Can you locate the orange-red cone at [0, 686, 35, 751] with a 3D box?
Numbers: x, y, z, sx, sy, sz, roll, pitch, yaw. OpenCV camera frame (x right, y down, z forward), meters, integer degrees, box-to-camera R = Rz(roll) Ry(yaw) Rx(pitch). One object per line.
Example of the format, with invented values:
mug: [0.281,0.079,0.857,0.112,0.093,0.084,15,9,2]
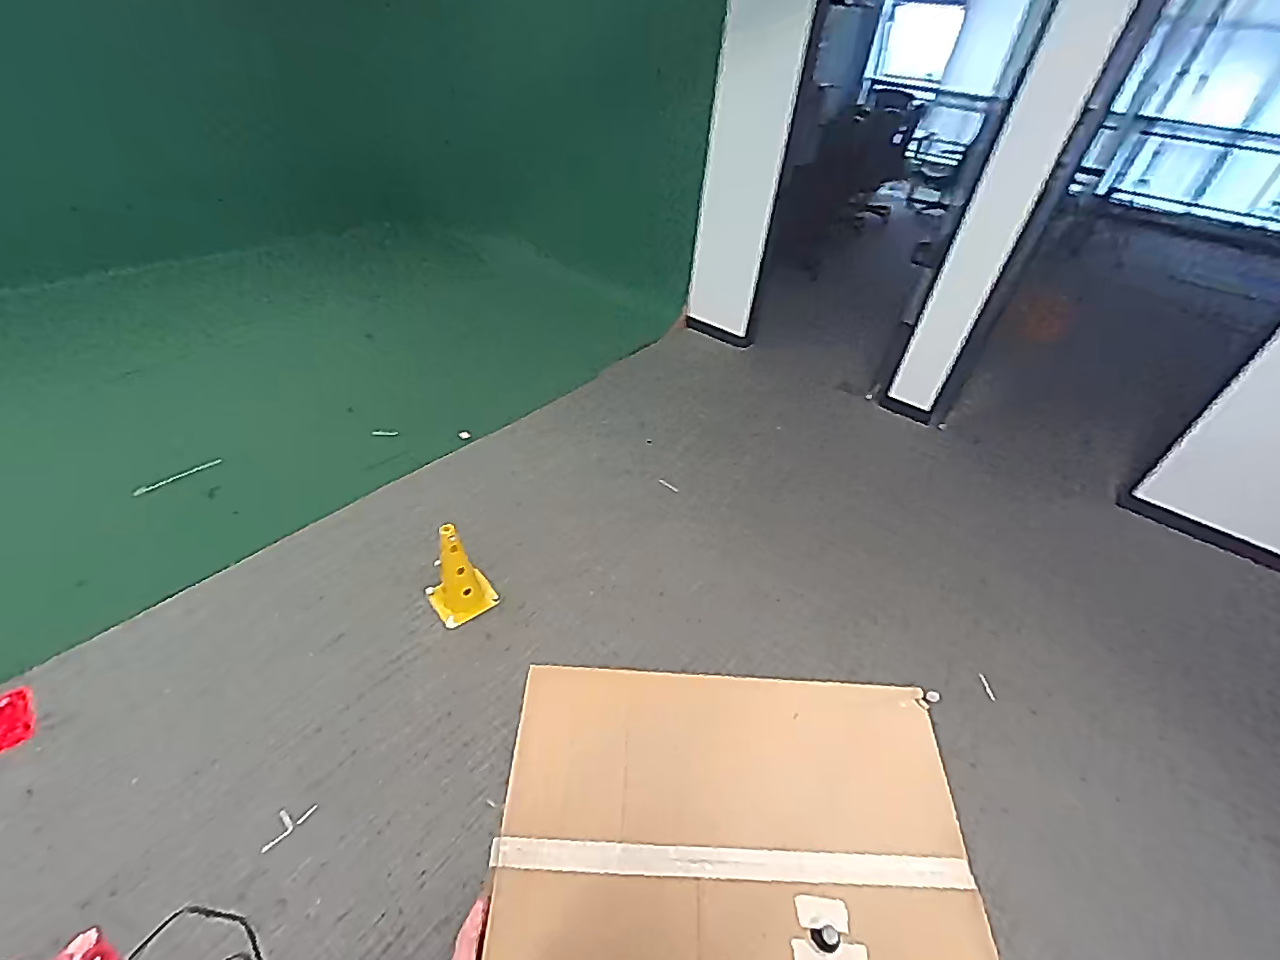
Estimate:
orange-red cone: [-1.808,0.566,1.388,0.199,0.360,0.198,-30,51,-32]

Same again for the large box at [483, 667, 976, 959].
large box: [0.065,0.414,0.590,0.408,0.320,0.320,3,53,-2]
